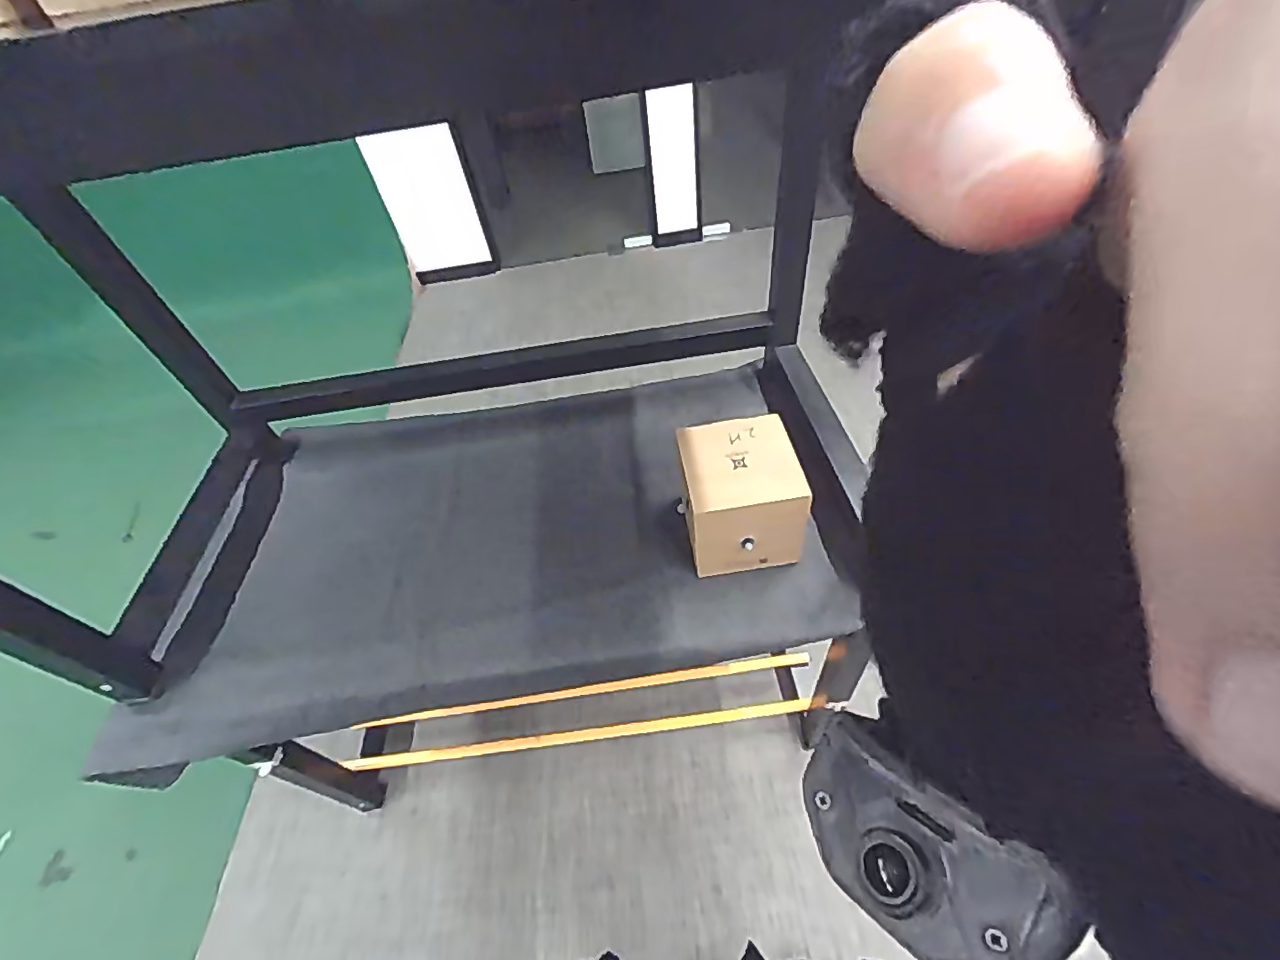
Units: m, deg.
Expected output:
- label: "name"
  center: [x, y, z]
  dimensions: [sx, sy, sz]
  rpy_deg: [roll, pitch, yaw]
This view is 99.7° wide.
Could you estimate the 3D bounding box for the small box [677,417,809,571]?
- label: "small box"
  center: [0.156, 0.029, 0.854]
  dimensions: [0.168, 0.176, 0.179]
  rpy_deg: [-8, 47, 1]
